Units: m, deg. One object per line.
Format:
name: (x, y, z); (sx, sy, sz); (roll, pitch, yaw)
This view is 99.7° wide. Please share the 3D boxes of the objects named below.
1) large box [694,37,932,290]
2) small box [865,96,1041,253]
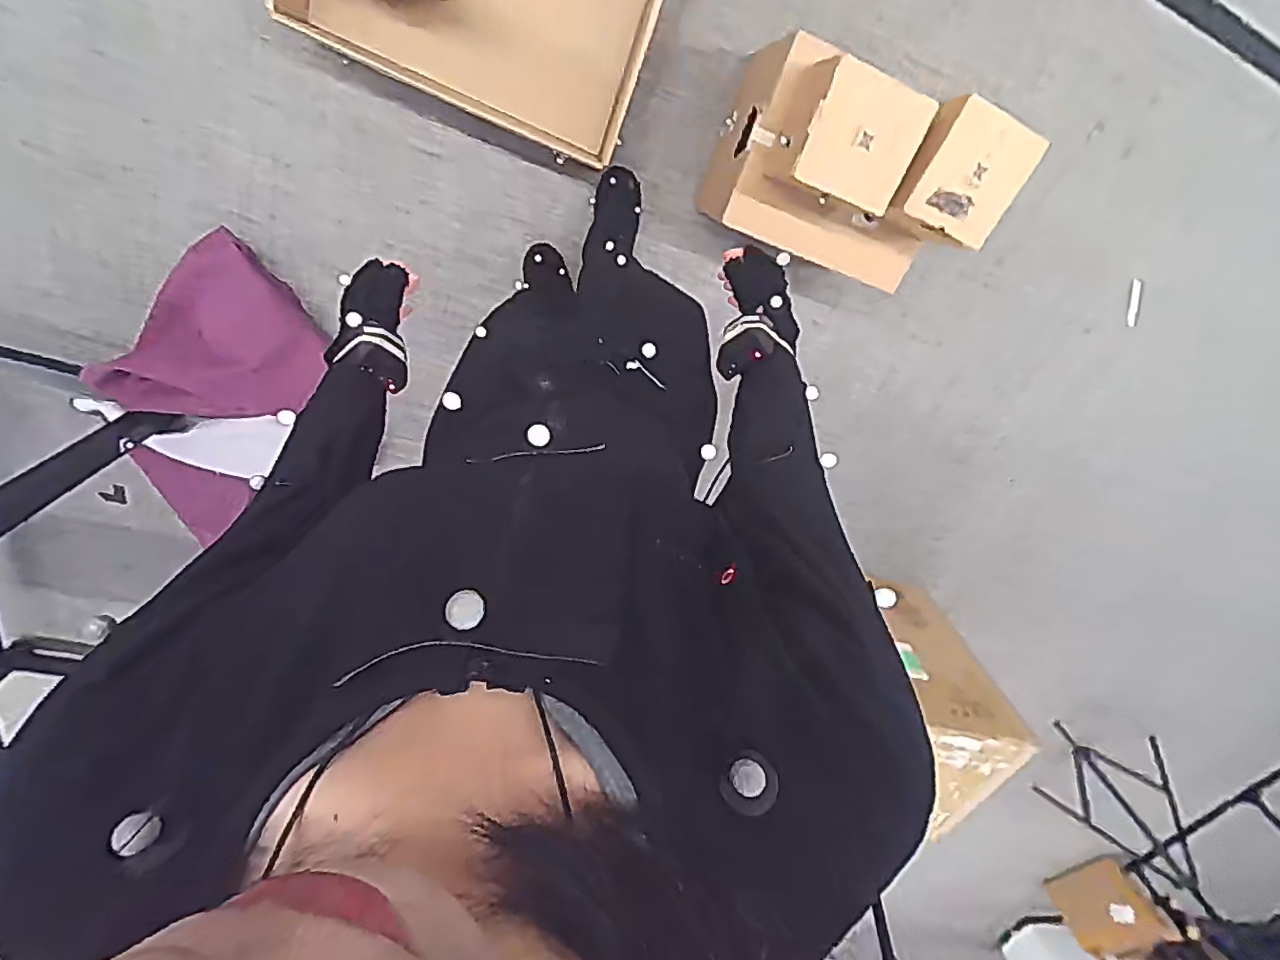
large box: (0.373, -0.644, 1.141); (0.408, 0.320, 0.320); (14, 119, -15)
small box: (0.525, -0.524, 0.942); (0.168, 0.176, 0.179); (19, 116, -16)
